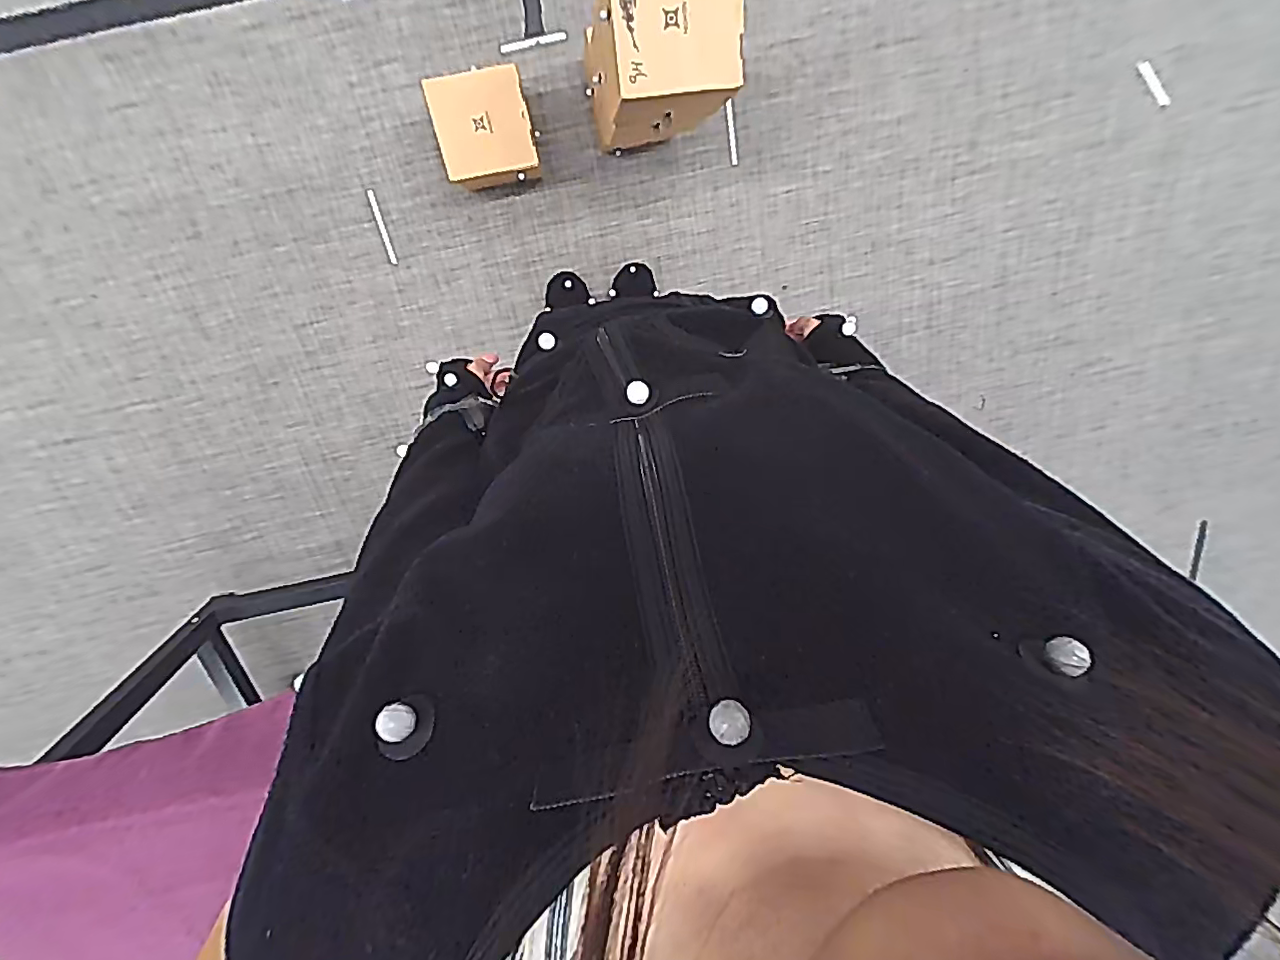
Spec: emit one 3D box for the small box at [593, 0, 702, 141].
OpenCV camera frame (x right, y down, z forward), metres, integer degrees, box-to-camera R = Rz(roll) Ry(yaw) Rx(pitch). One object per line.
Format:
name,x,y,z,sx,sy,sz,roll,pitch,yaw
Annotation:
small box,0.017,-0.703,0.931,0.179,0.176,0.168,-12,114,-4

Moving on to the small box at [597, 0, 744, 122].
small box,0.040,-0.636,0.782,0.179,0.176,0.168,-9,114,-6

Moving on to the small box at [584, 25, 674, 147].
small box,-0.012,-0.781,1.074,0.168,0.176,0.179,-14,113,-3

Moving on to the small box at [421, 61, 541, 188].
small box,-0.303,-0.692,1.071,0.179,0.176,0.168,-13,114,-3
